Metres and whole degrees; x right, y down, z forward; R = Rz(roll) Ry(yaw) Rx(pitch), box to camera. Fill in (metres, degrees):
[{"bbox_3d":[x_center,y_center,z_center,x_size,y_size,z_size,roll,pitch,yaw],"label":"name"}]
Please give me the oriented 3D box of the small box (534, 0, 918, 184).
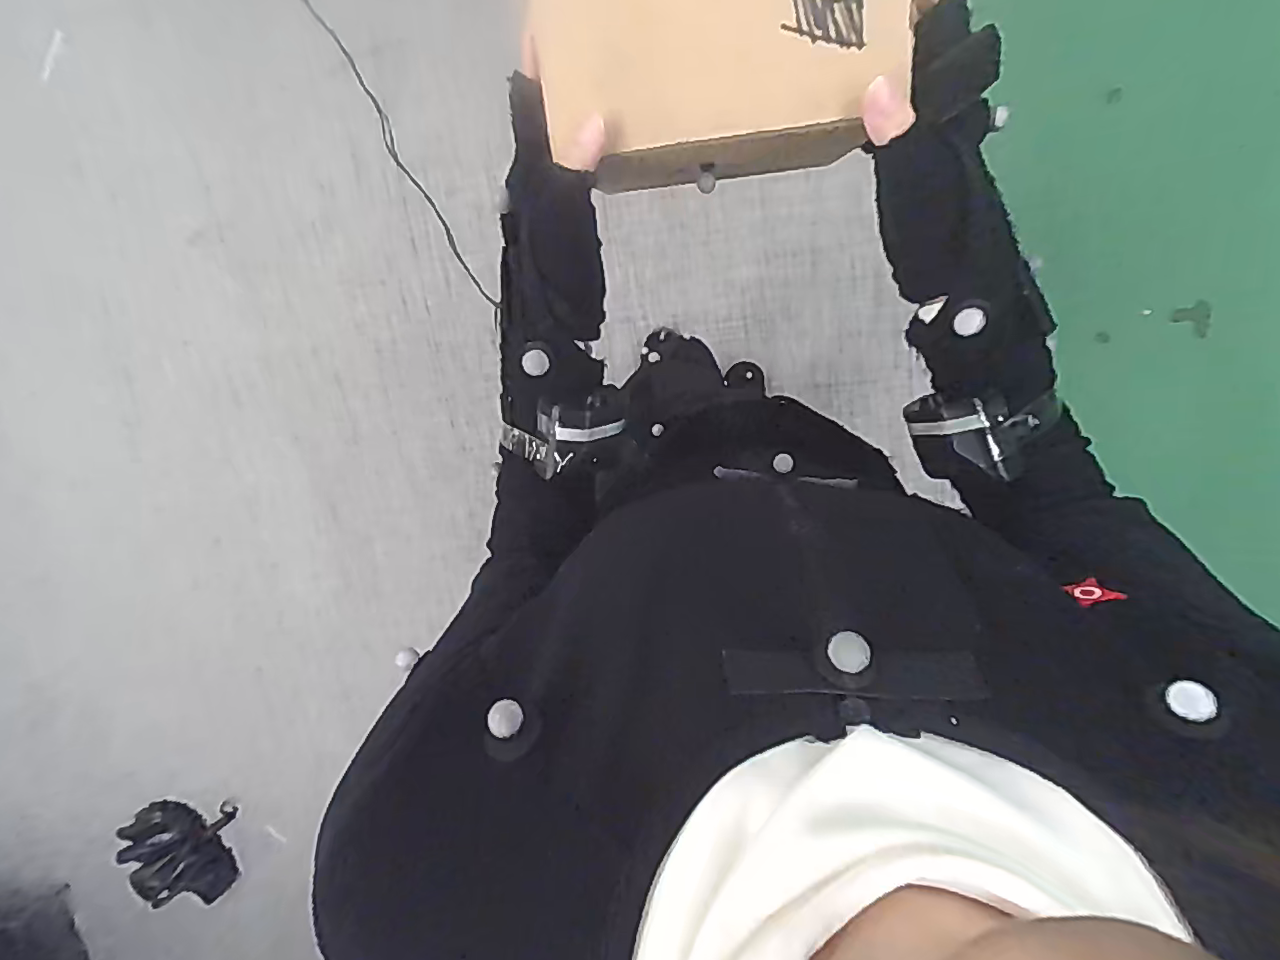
[{"bbox_3d":[0.042,-0.277,0.308,0.179,0.176,0.168,-3,112,8],"label":"small box"}]
